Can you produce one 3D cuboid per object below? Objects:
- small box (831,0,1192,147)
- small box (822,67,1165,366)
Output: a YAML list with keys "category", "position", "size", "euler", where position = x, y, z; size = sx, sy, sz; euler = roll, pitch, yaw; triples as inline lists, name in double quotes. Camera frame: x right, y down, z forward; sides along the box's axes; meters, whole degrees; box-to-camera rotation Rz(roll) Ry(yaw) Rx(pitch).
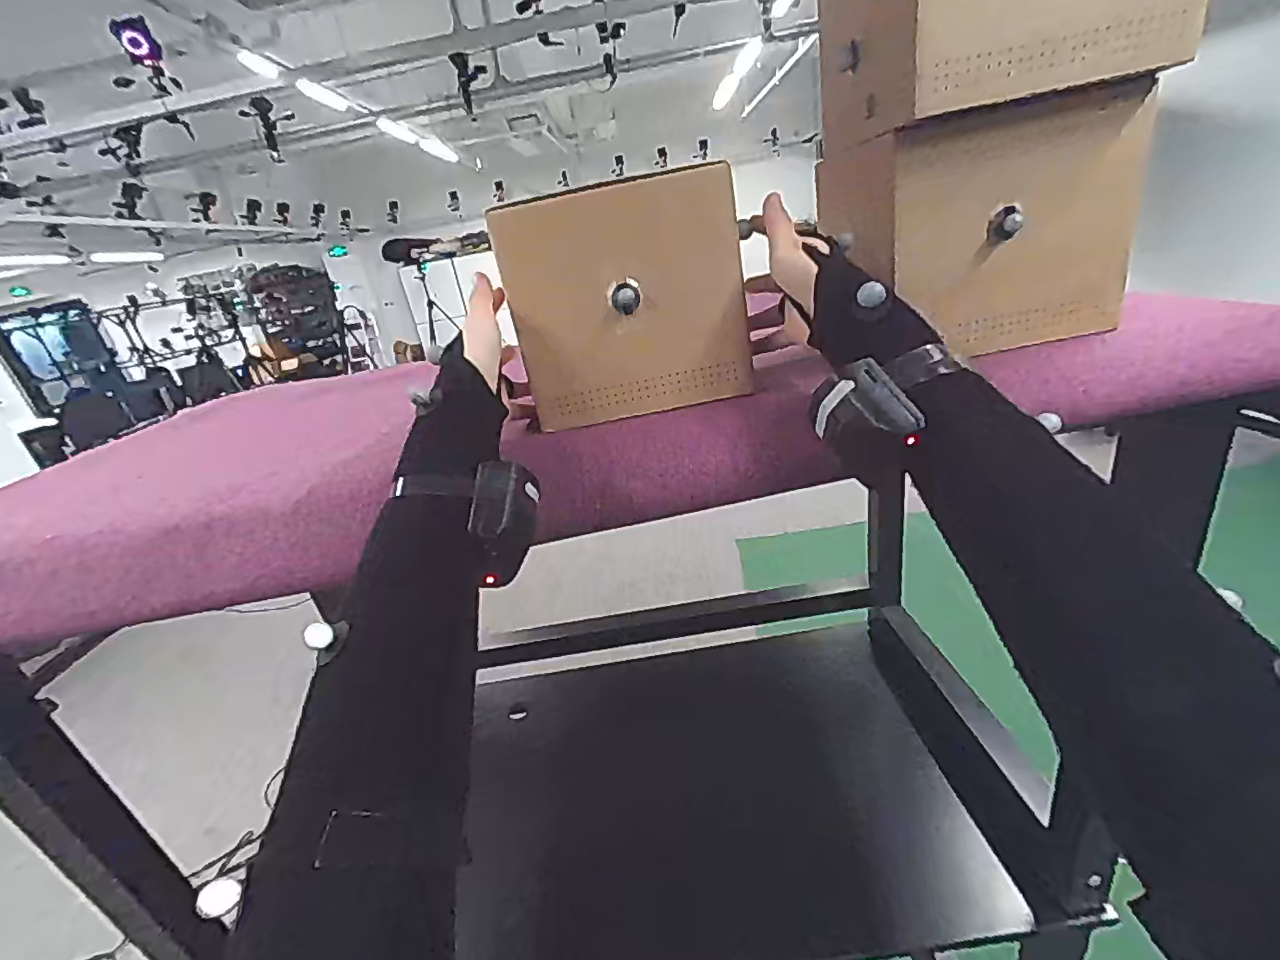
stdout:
- category: "small box"
  position: [0.239, -0.347, 0.372]
  size: [0.179, 0.176, 0.168]
  euler: [-10, 23, 3]
- category: "small box"
  position: [0.267, -0.207, 0.455]
  size: [0.179, 0.176, 0.168]
  euler: [-11, 23, 4]
